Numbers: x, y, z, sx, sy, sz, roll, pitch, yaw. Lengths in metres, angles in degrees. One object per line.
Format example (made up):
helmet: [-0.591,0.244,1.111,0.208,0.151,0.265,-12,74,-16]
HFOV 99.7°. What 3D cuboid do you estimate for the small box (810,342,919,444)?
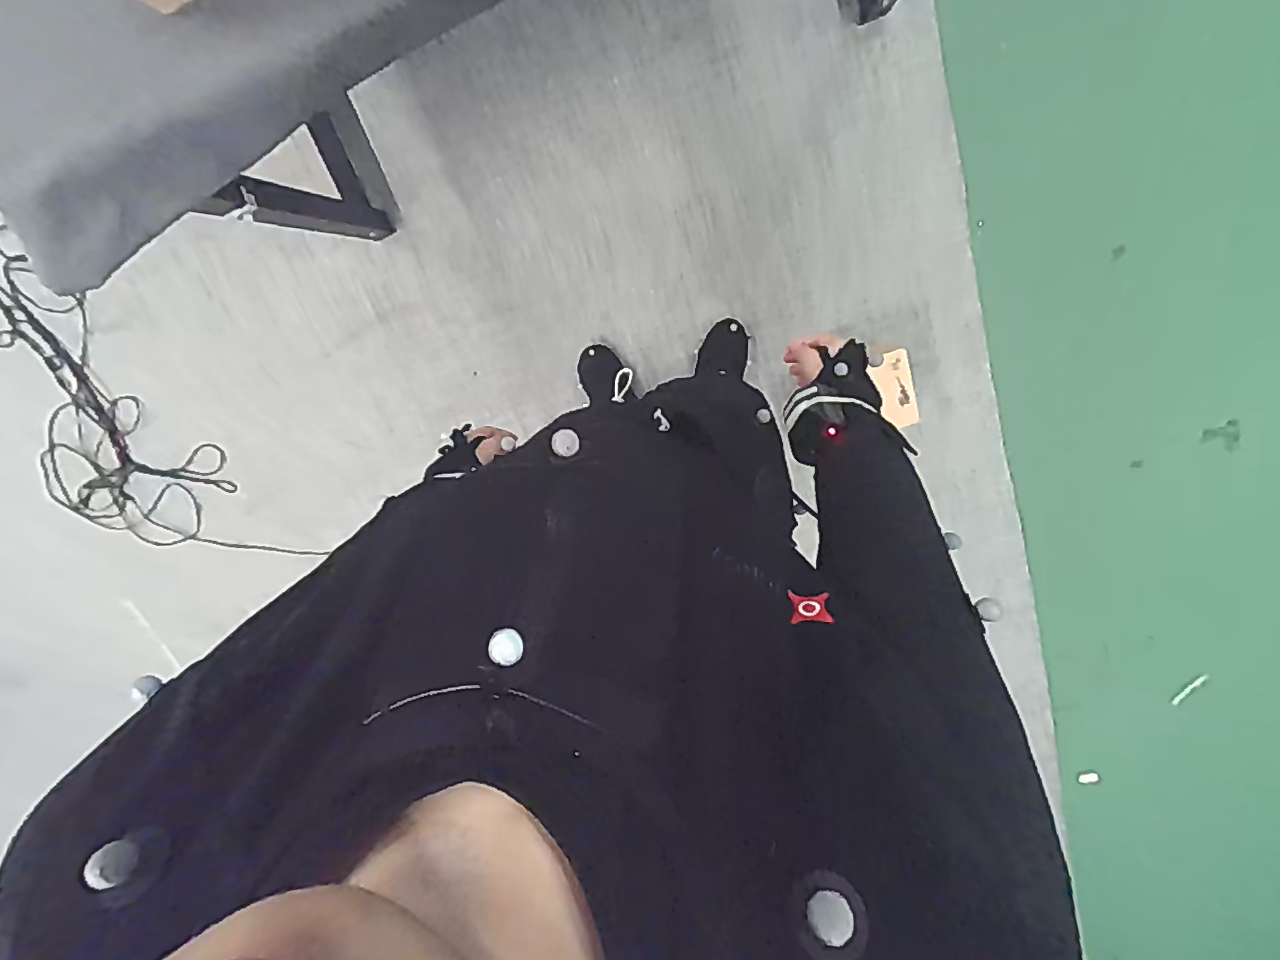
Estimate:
small box: [0.486,-0.197,1.197,0.179,0.176,0.168,-17,106,12]
